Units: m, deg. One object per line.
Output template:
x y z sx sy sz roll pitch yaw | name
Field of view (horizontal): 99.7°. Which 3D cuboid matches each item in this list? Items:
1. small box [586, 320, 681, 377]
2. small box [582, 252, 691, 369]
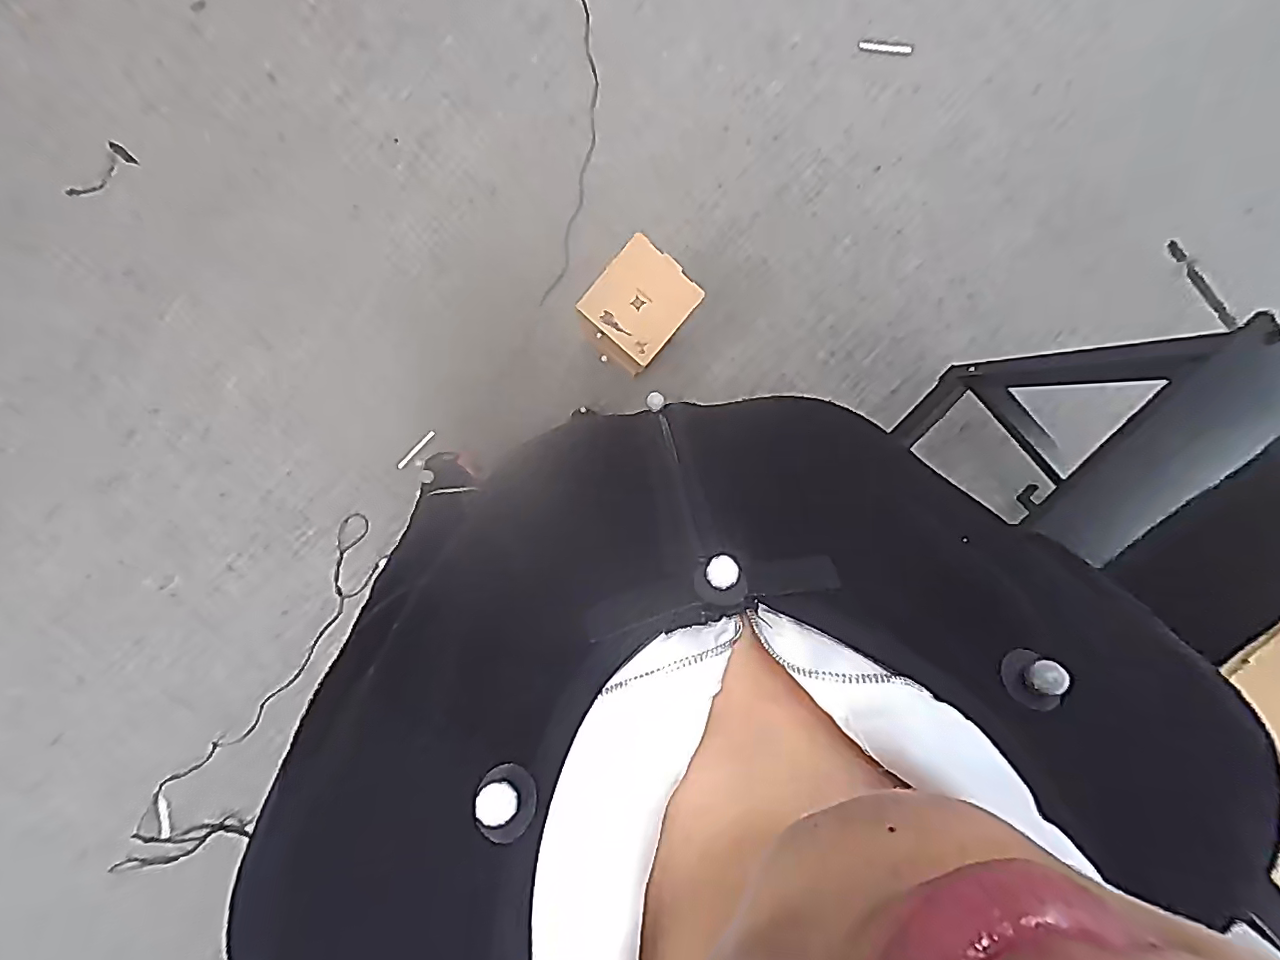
-0.021 -0.380 1.371 0.168 0.176 0.179 41 94 -6 | small box
-0.011 -0.367 1.211 0.168 0.176 0.179 37 92 -8 | small box
